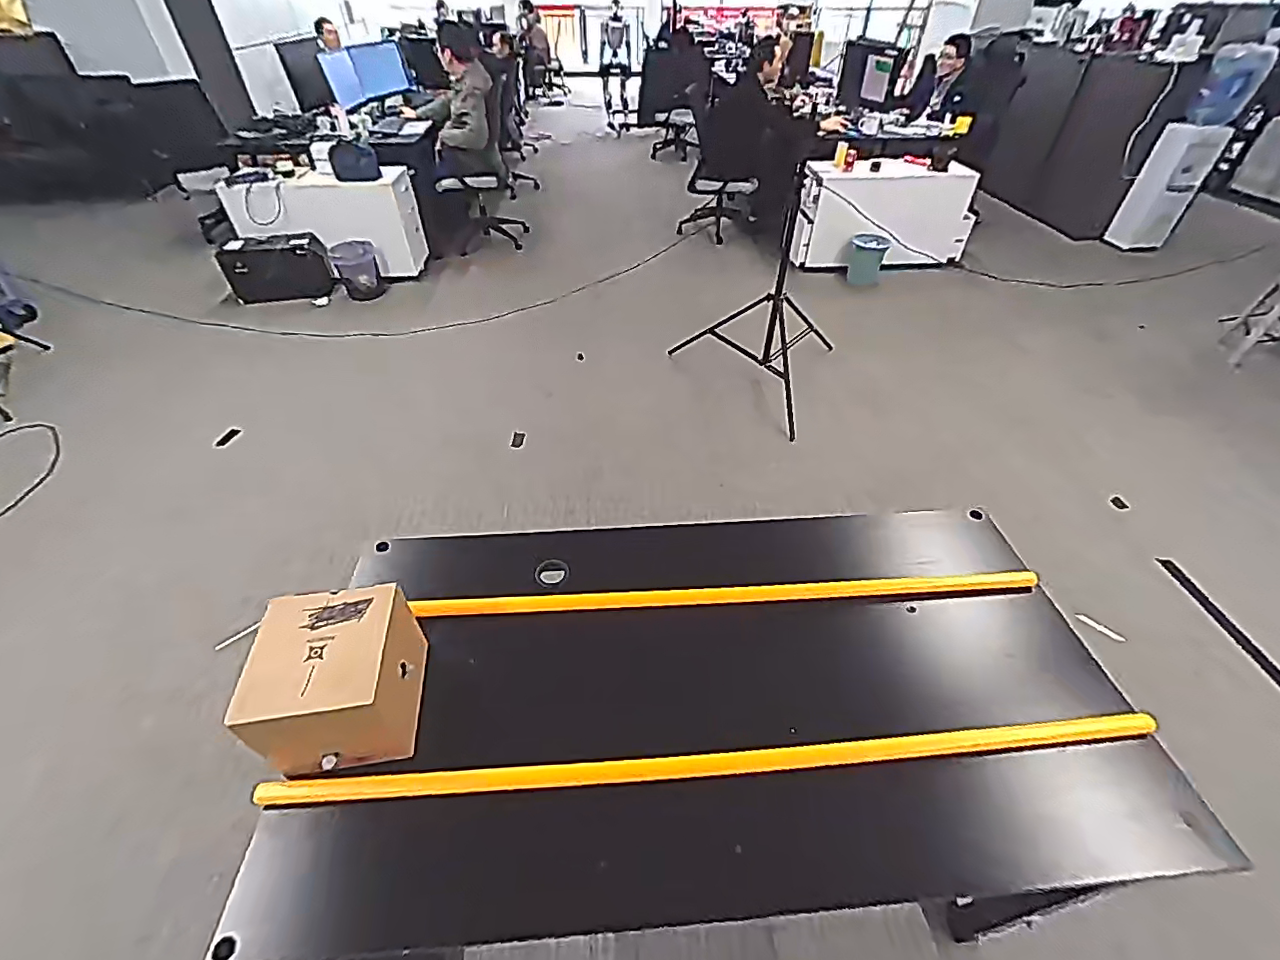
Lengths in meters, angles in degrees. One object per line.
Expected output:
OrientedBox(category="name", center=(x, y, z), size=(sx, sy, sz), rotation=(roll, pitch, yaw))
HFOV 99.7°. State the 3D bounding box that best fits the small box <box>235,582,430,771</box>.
OrientedBox(category="small box", center=(-0.397, 0.267, 0.740), size=(0.168, 0.176, 0.179), rotation=(-6, 44, -7))
